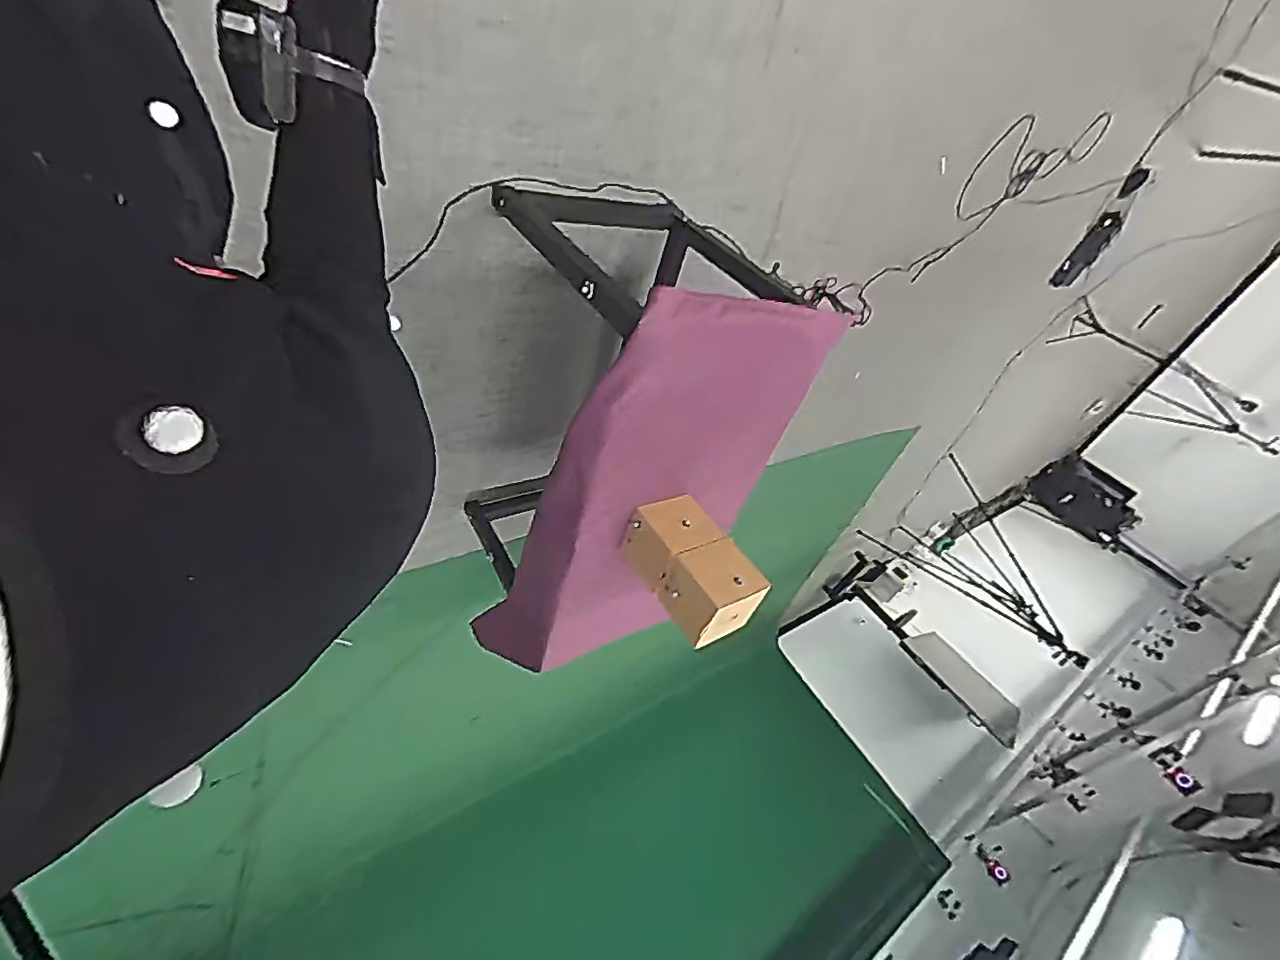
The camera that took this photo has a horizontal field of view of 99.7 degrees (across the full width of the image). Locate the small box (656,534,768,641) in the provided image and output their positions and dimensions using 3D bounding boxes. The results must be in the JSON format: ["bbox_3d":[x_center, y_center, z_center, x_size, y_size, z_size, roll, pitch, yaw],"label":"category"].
[{"bbox_3d":[0.170,0.255,1.319,0.179,0.176,0.168,-13,139,-34],"label":"small box"}]

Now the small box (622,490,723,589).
[{"bbox_3d":[0.076,0.149,1.404,0.179,0.176,0.168,-13,140,-35],"label":"small box"}]
